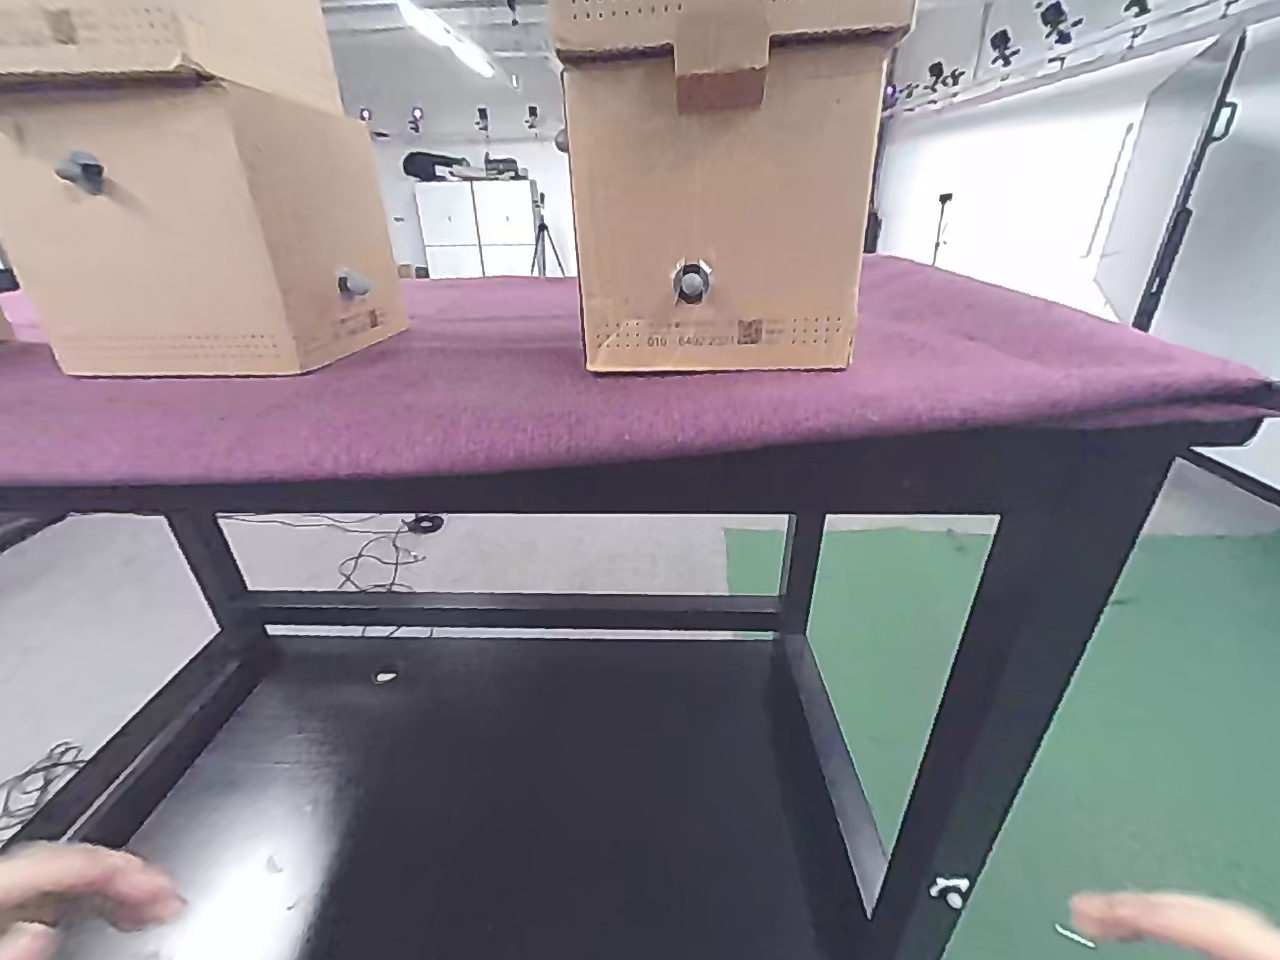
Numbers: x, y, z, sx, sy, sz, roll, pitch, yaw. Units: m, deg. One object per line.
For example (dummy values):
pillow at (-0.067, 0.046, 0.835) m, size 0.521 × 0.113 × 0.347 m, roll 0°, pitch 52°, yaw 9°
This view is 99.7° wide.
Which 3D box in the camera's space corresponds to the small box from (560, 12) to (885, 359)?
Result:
small box at (0.049, -0.187, 0.377) m, size 0.168 × 0.176 × 0.179 m, roll 0°, pitch 26°, yaw 6°

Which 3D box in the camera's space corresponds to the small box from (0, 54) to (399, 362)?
small box at (-0.311, -0.187, 0.401) m, size 0.179 × 0.176 × 0.168 m, roll 1°, pitch 26°, yaw 3°

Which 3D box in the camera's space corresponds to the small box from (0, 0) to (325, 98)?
small box at (-0.321, -0.329, 0.319) m, size 0.168 × 0.176 × 0.179 m, roll -2°, pitch 27°, yaw -1°
